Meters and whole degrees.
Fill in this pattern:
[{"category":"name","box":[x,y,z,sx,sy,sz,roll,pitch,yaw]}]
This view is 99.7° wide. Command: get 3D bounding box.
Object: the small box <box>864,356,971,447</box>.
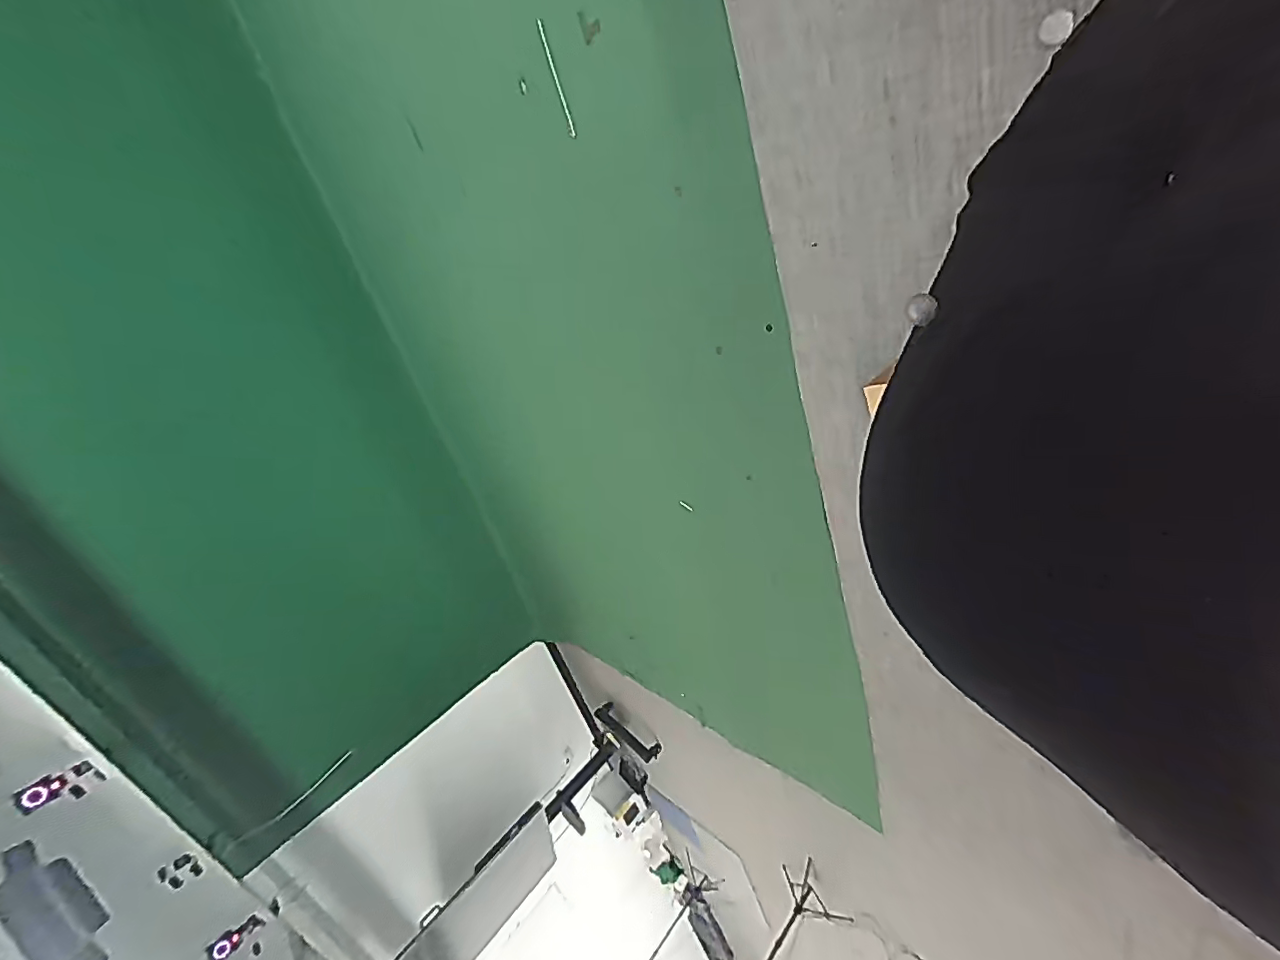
[{"category":"small box","box":[0.691,-0.192,1.333,0.179,0.176,0.168,1,118,53]}]
